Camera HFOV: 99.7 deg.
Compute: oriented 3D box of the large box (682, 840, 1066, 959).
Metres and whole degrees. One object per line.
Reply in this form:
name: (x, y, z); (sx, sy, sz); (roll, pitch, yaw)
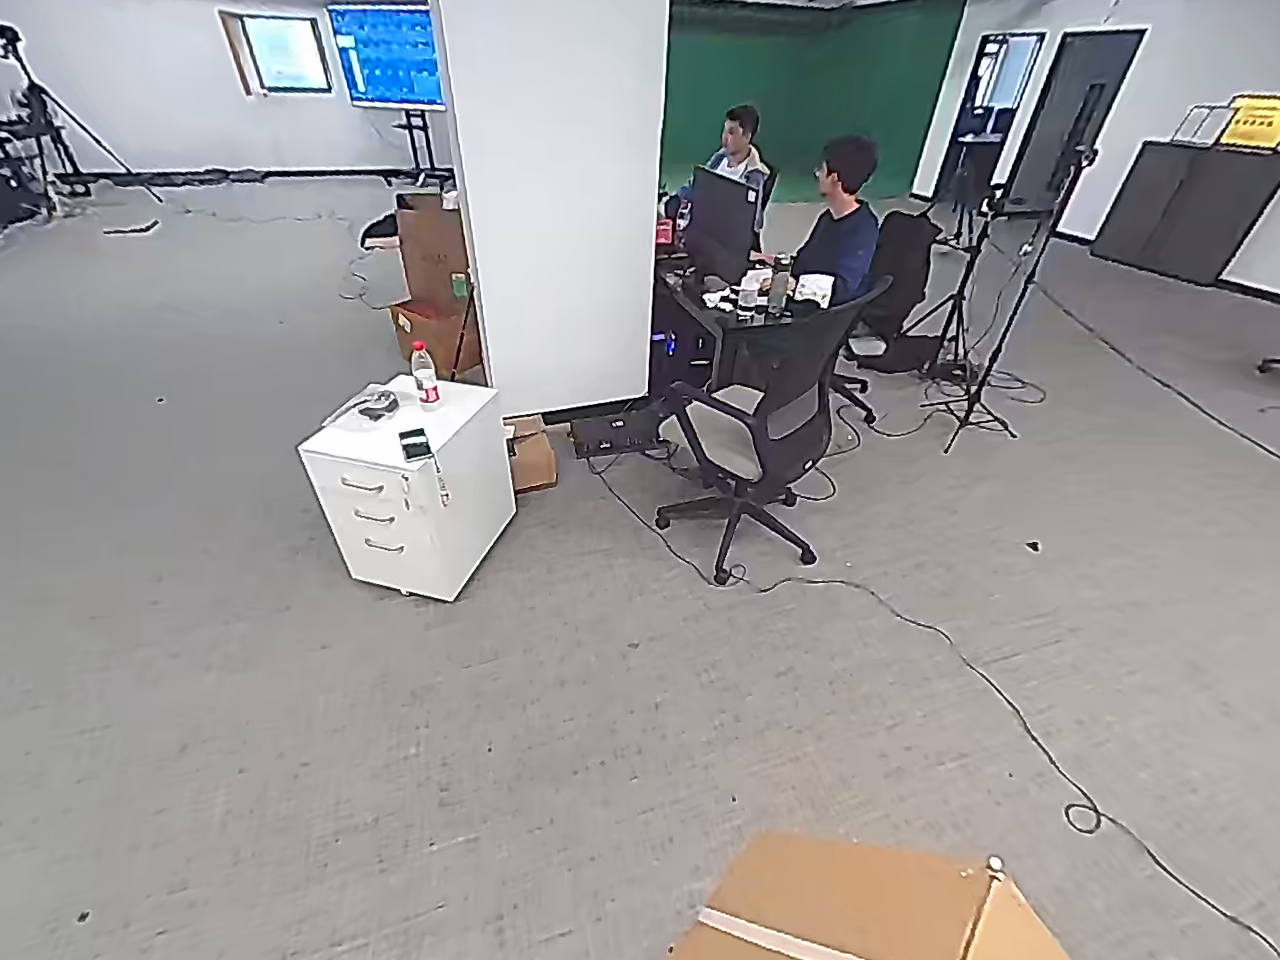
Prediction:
large box: (0.281, 0.687, 0.623); (0.320, 0.408, 0.320); (-31, 84, -38)
